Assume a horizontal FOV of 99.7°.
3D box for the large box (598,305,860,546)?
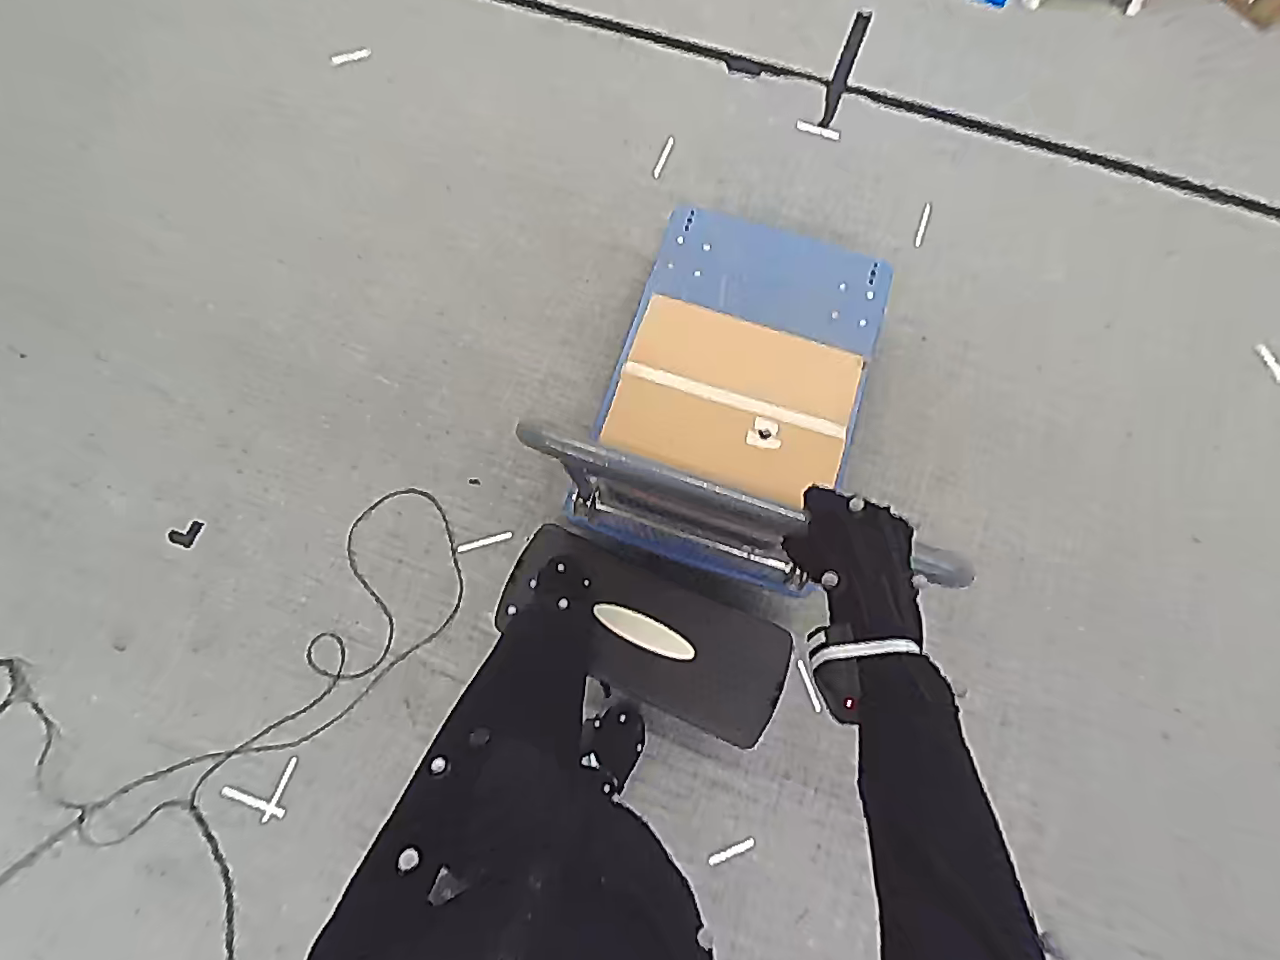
[{"bbox_3d":[0.155,-0.087,1.084,0.408,0.320,0.320,18,77,3],"label":"large box"}]
